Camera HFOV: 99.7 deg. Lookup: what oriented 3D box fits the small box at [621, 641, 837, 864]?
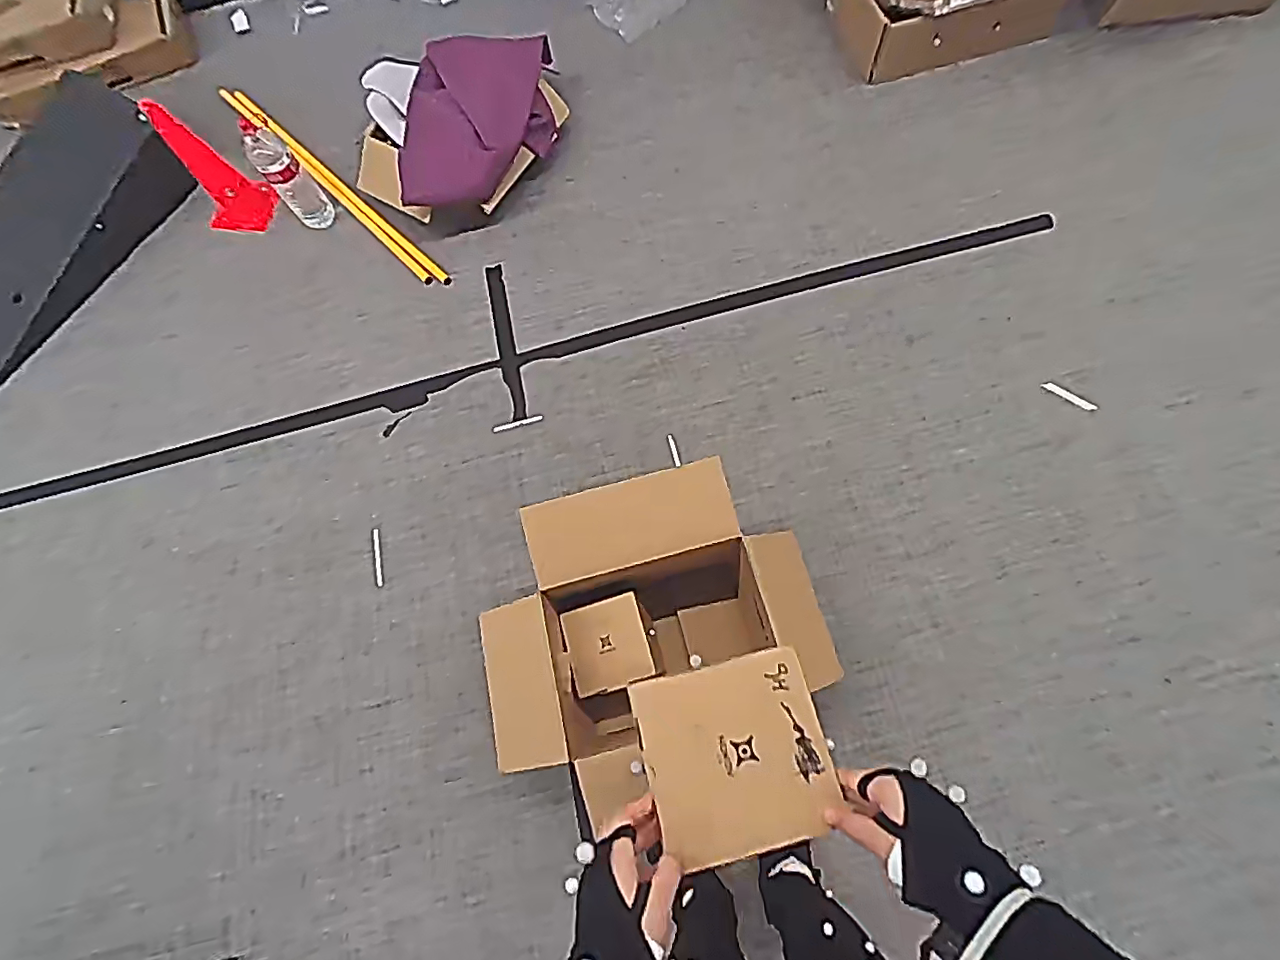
[{"bbox_3d":[0.084,0.286,0.596,0.179,0.176,0.168,-13,69,-4],"label":"small box"}]
